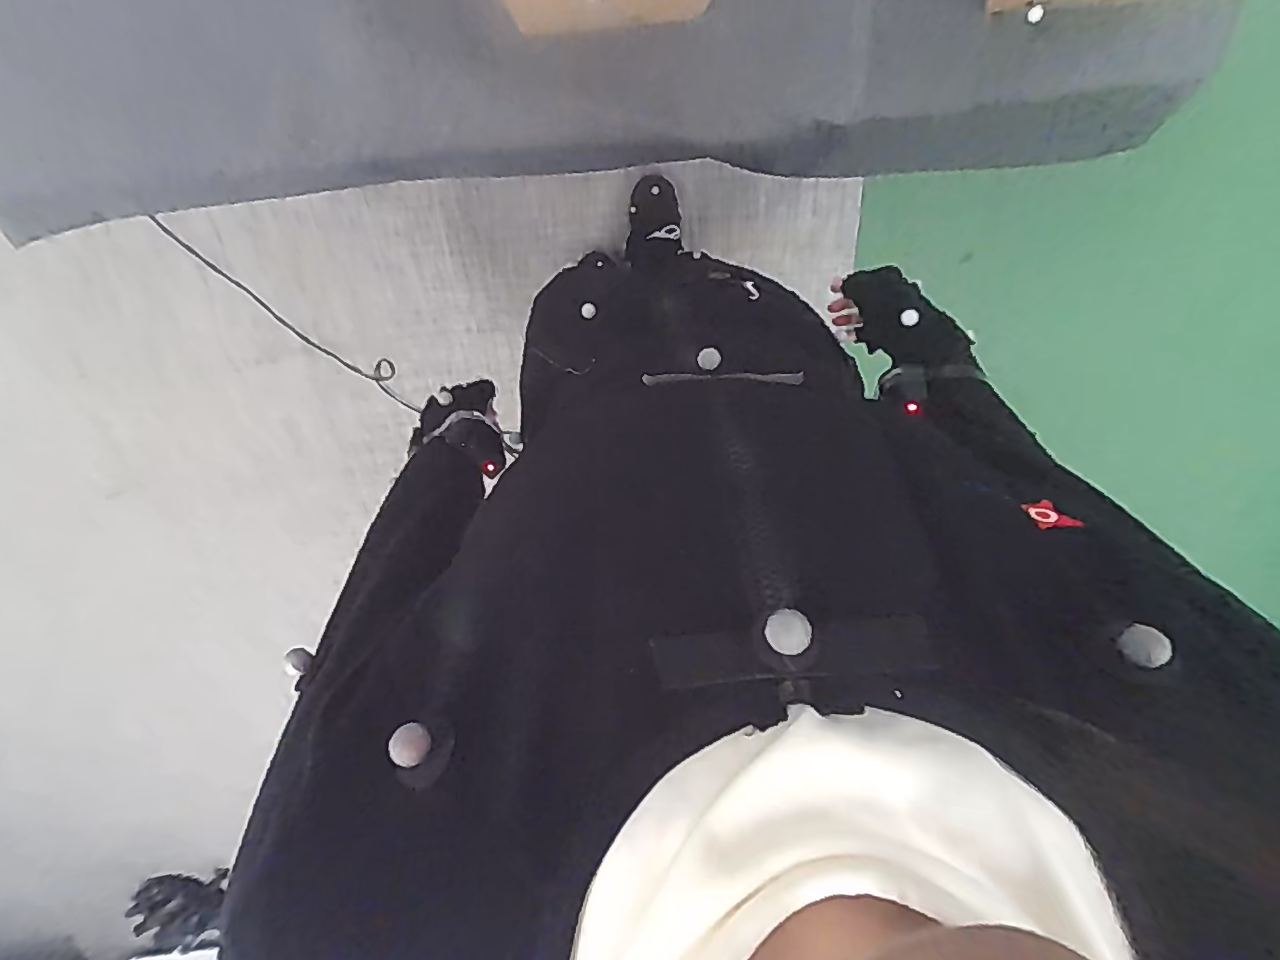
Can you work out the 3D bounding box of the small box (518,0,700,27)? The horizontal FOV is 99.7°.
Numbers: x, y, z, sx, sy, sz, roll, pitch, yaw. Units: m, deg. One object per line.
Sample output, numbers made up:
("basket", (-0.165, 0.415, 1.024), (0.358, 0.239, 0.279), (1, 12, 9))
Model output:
("small box", (-0.027, -0.454, 0.376), (0.168, 0.176, 0.179), (-7, 119, -1))
